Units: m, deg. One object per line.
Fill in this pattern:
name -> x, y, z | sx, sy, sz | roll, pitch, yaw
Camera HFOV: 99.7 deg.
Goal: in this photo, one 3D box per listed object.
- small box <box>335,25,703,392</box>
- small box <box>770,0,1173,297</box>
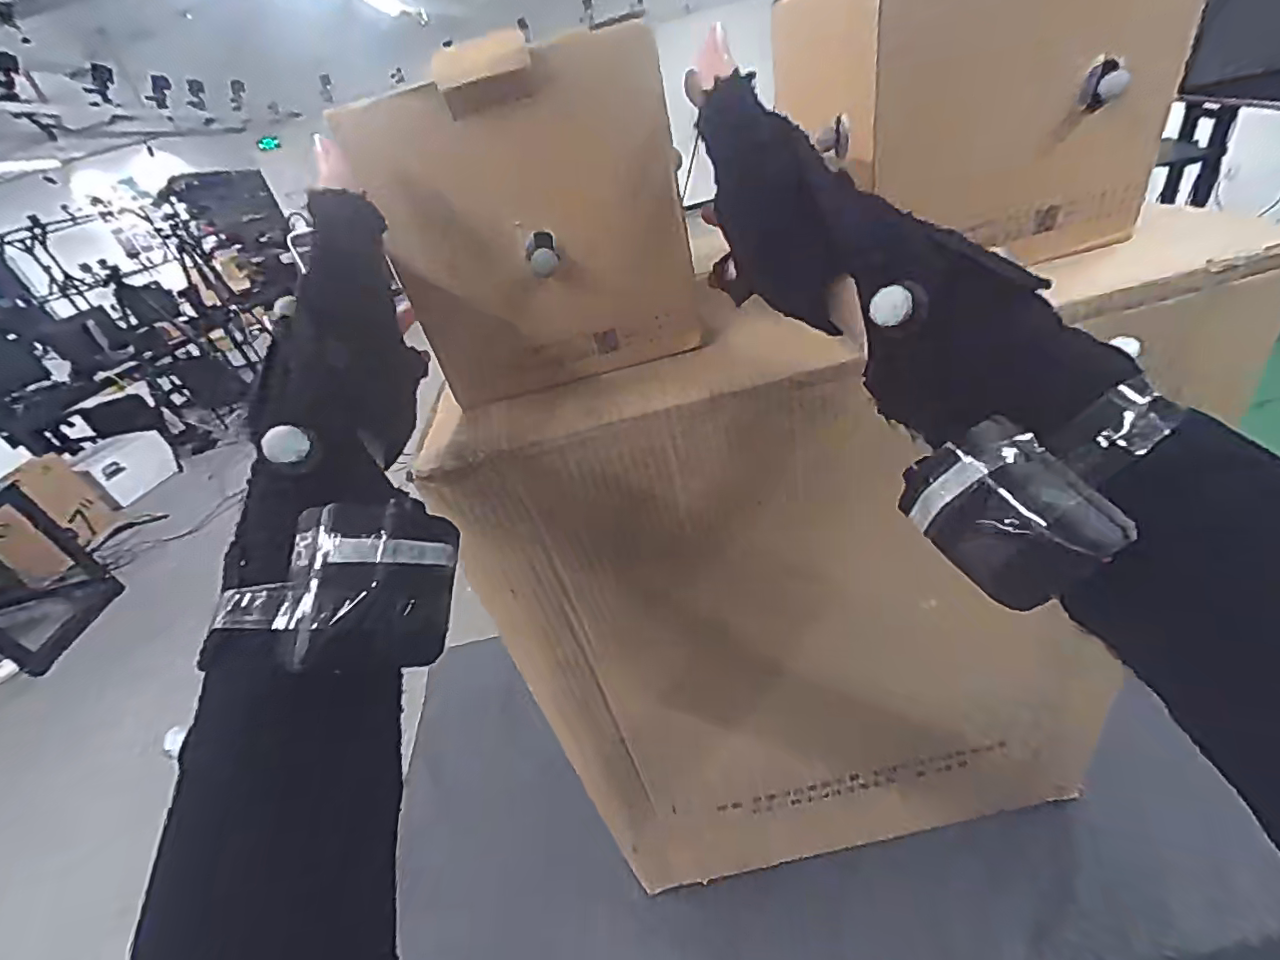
small box -> -0.061, -0.175, 0.371 | 0.168, 0.176, 0.179 | -14, 36, 2
small box -> 0.196, -0.234, 0.363 | 0.168, 0.176, 0.179 | -12, 34, 0
